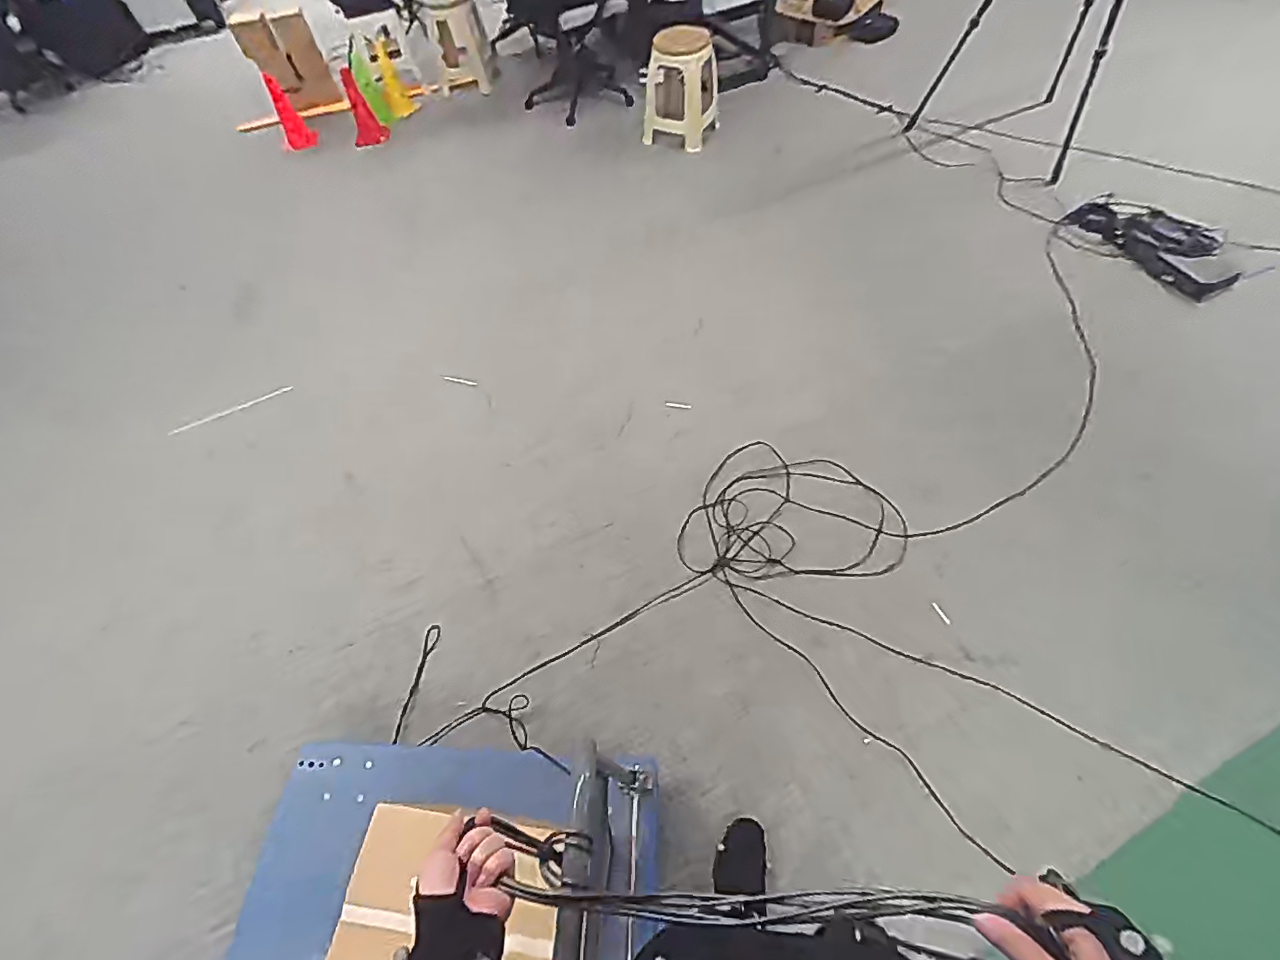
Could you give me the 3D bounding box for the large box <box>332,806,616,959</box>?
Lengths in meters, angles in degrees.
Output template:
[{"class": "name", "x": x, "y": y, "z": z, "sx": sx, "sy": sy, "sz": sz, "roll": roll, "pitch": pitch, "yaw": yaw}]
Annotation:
[{"class": "large box", "x": -0.271, "y": 0.798, "z": 0.989, "sx": 0.408, "sy": 0.320, "sz": 0.320, "roll": 4, "pitch": 58, "yaw": 7}]
